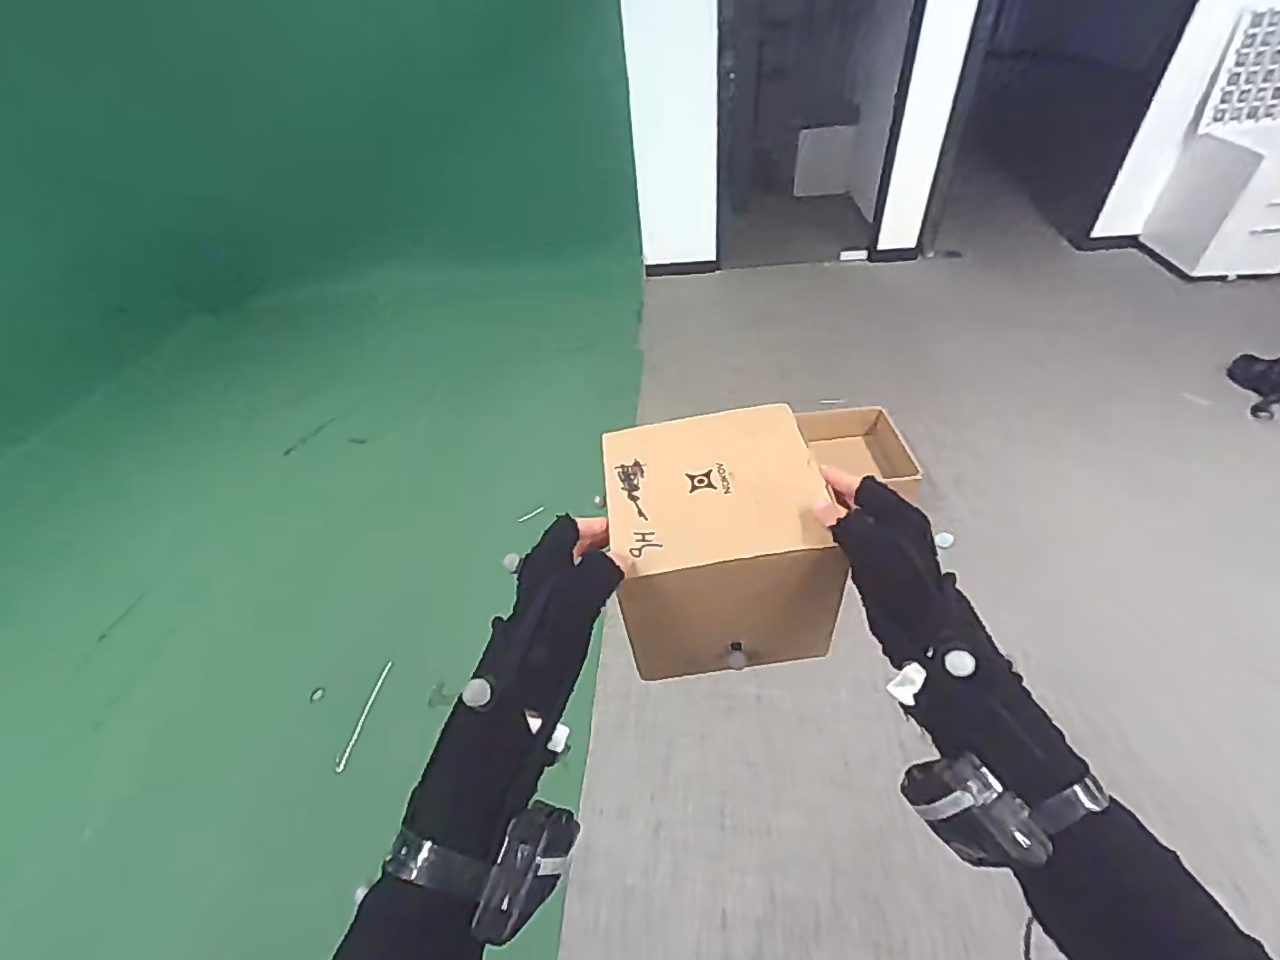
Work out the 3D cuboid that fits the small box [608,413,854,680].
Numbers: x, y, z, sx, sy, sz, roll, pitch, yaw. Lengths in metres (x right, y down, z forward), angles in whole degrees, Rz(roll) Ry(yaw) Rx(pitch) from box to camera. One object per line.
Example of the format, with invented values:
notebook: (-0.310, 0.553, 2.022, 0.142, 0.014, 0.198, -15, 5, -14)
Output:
small box: (0.069, 0.063, 0.494, 0.179, 0.176, 0.168, -7, 43, 1)
